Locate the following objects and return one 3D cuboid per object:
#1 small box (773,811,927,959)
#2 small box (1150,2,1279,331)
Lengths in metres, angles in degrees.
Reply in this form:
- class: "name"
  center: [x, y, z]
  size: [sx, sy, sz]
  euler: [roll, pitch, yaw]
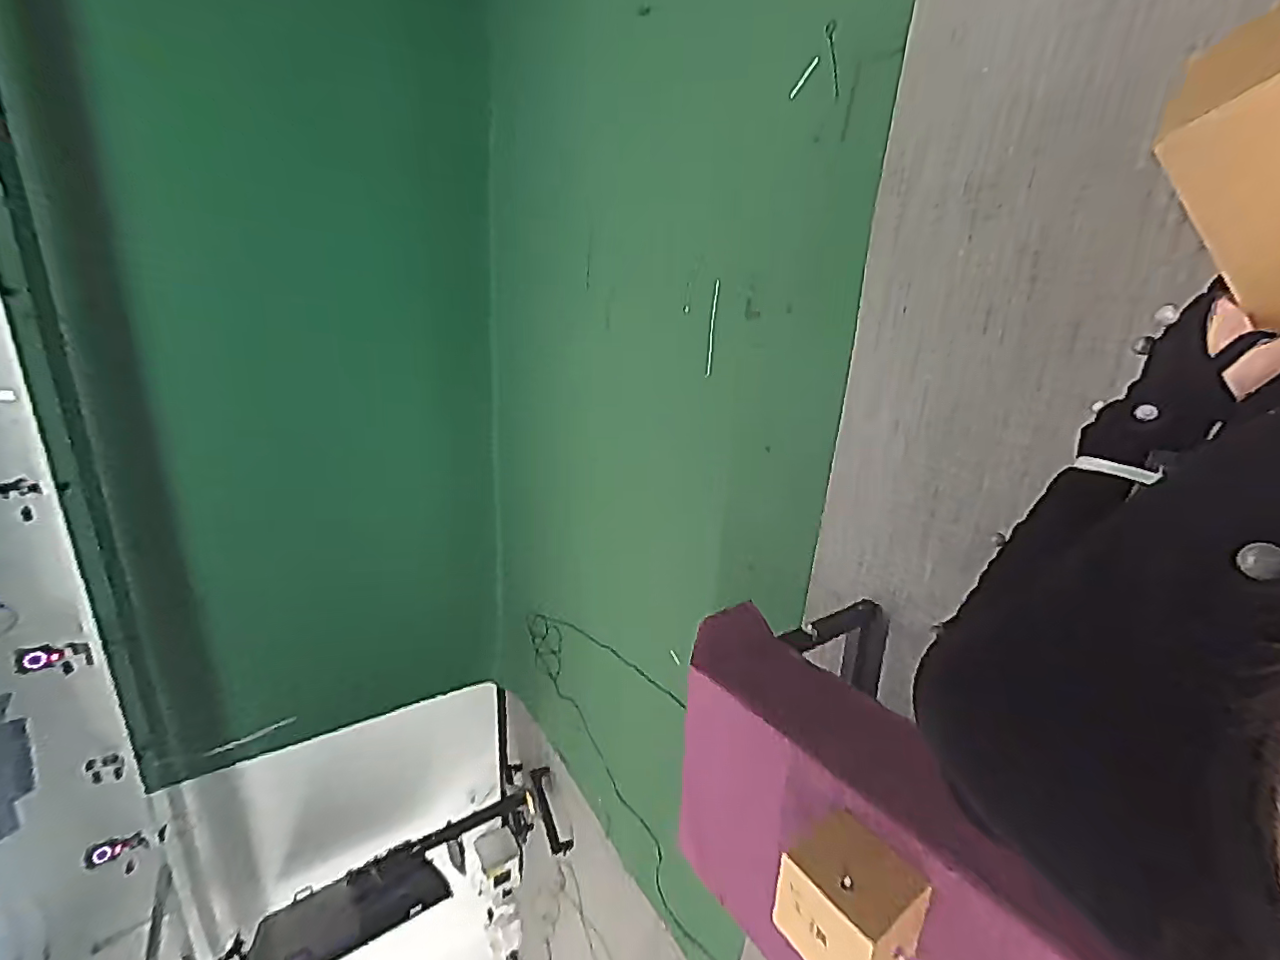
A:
- class: "small box"
  center: [0.358, 0.719, 0.927]
  size: [0.179, 0.176, 0.168]
  euler: [25, 118, 51]
- class: "small box"
  center: [0.470, -0.230, 0.331]
  size: [0.168, 0.176, 0.179]
  euler: [49, 151, -12]
